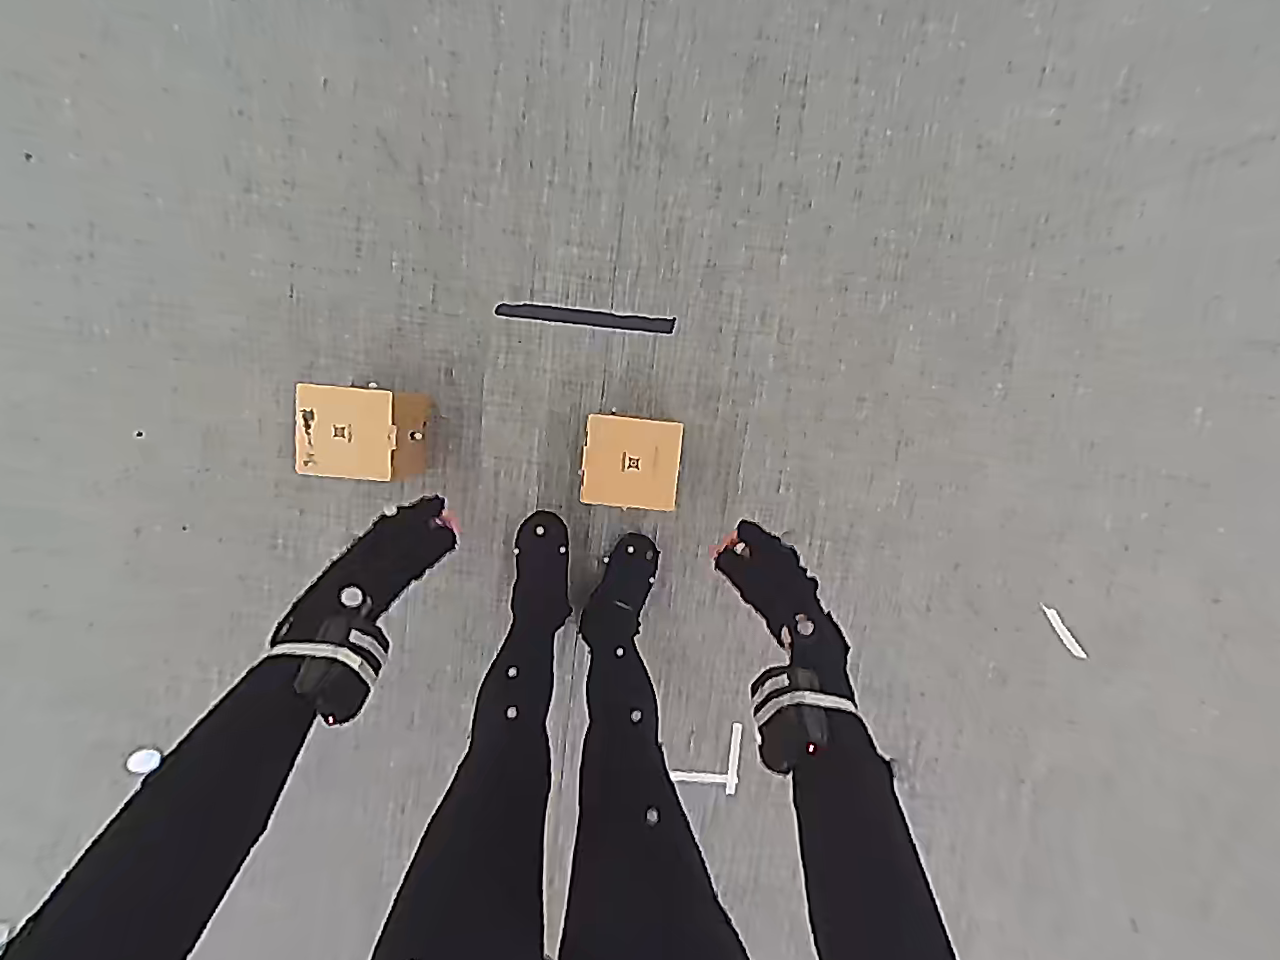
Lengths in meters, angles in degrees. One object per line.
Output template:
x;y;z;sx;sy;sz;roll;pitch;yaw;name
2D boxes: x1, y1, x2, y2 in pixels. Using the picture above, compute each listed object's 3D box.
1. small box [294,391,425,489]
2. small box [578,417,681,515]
-0.531;-0.082;1.046;0.179;0.176;0.168;5;97;-2;small box
-0.021;-0.033;1.060;0.179;0.176;0.168;5;98;-3;small box
